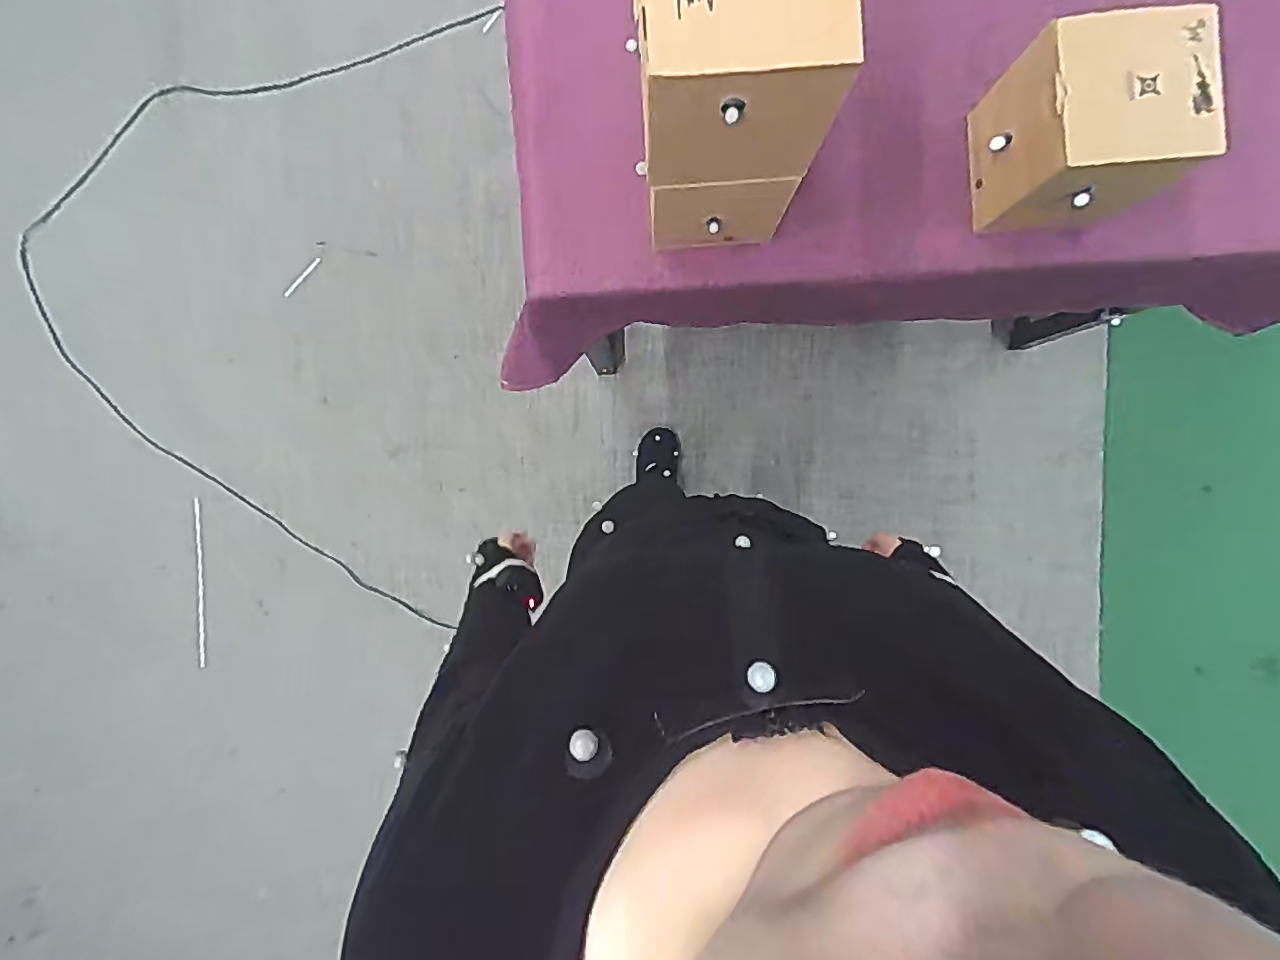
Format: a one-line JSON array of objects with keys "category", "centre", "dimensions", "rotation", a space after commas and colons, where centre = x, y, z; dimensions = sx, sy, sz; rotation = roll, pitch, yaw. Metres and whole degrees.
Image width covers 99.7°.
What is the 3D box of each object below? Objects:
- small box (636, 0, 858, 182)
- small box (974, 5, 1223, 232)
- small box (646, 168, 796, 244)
[{"category": "small box", "centre": [0.086, -0.408, 0.512], "dimensions": [0.179, 0.176, 0.168], "rotation": [-3, 91, 1]}, {"category": "small box", "centre": [0.538, -0.424, 0.665], "dimensions": [0.179, 0.176, 0.168], "rotation": [-4, 91, 2]}, {"category": "small box", "centre": [0.091, -0.411, 0.677], "dimensions": [0.168, 0.176, 0.179], "rotation": [-3, 90, 1]}]
